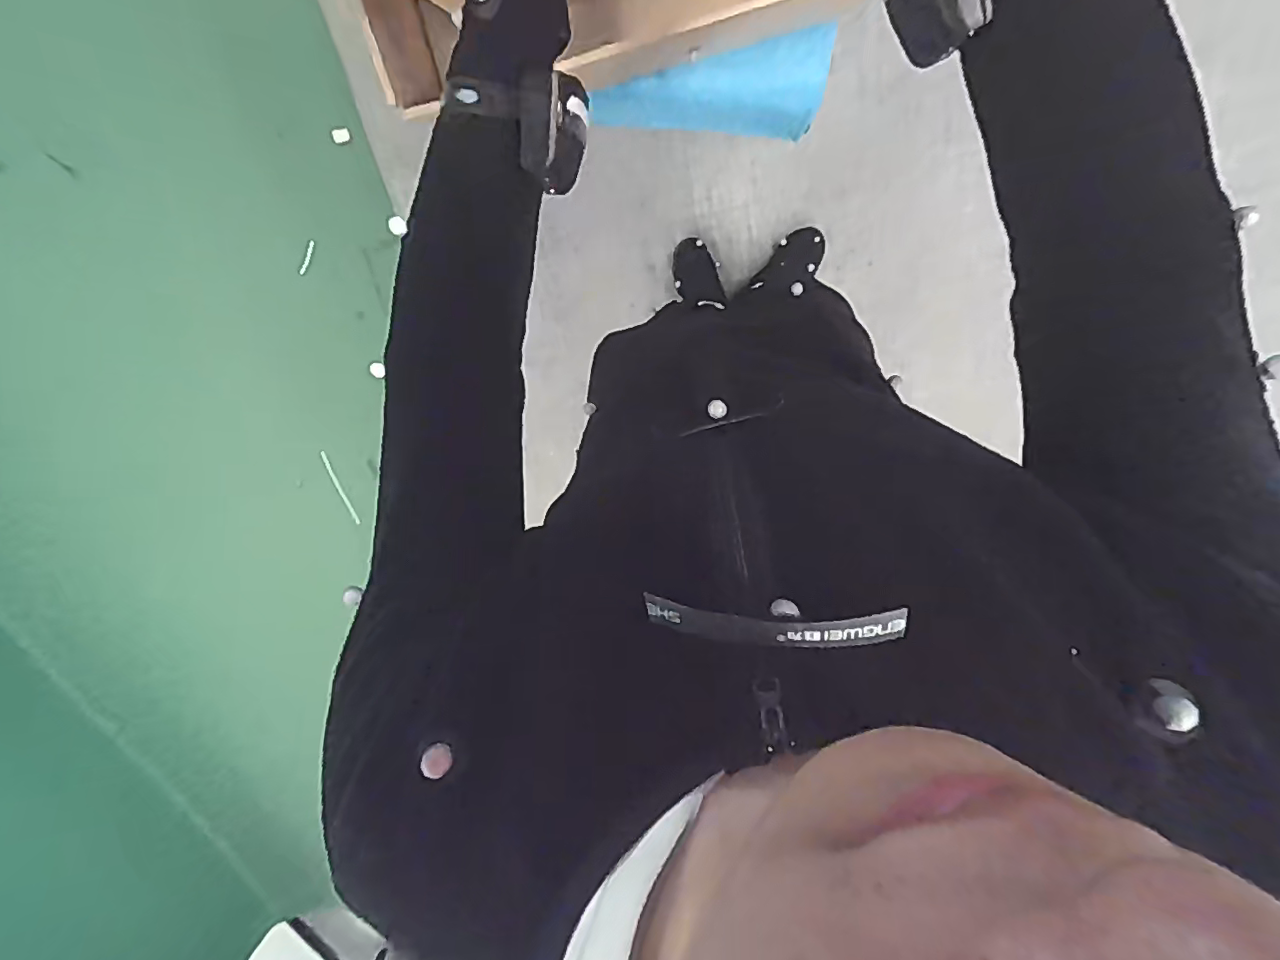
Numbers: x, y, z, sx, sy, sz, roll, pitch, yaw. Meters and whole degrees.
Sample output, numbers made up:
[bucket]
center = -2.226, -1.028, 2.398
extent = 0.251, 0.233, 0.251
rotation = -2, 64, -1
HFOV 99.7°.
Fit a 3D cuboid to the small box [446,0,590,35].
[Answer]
[small box]
center = -0.162, -0.665, 0.635
extent = 0.179, 0.176, 0.168
rotation = -7, 114, 14
